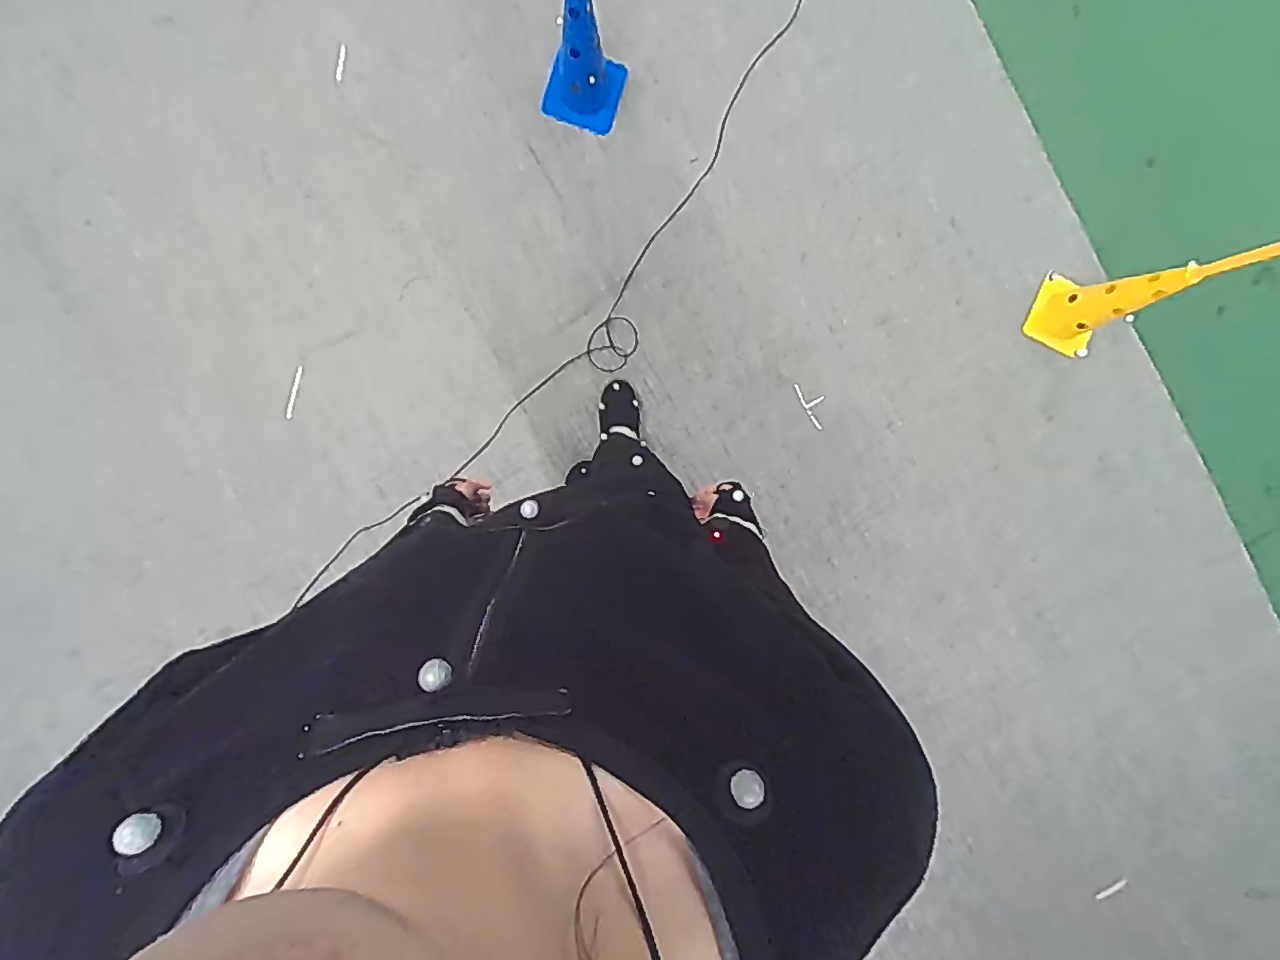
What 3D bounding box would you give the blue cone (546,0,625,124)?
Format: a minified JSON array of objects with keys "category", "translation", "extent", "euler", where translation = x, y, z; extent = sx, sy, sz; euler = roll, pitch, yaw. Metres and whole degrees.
[{"category":"blue cone","translation":[-0.142,-1.059,1.287],"extent":[0.193,0.380,0.192],"euler":[16,91,-3]}]
